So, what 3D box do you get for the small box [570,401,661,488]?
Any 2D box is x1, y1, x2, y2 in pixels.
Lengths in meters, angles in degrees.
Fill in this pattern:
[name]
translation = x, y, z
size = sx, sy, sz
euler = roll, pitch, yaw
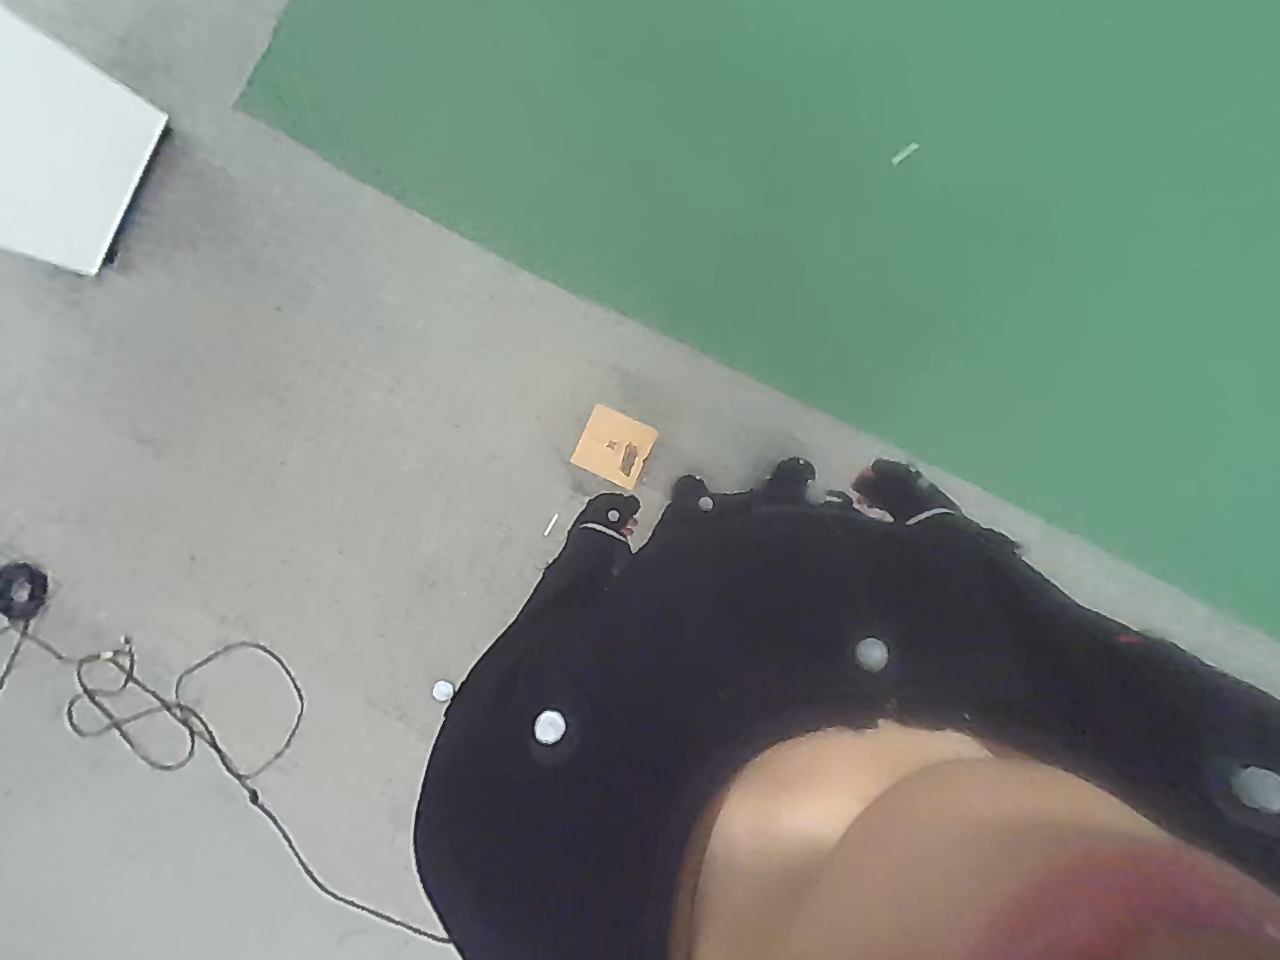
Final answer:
[small box]
translation = -0.055, -0.093, 1.413
size = 0.179, 0.176, 0.168
euler = 26, 94, 4
